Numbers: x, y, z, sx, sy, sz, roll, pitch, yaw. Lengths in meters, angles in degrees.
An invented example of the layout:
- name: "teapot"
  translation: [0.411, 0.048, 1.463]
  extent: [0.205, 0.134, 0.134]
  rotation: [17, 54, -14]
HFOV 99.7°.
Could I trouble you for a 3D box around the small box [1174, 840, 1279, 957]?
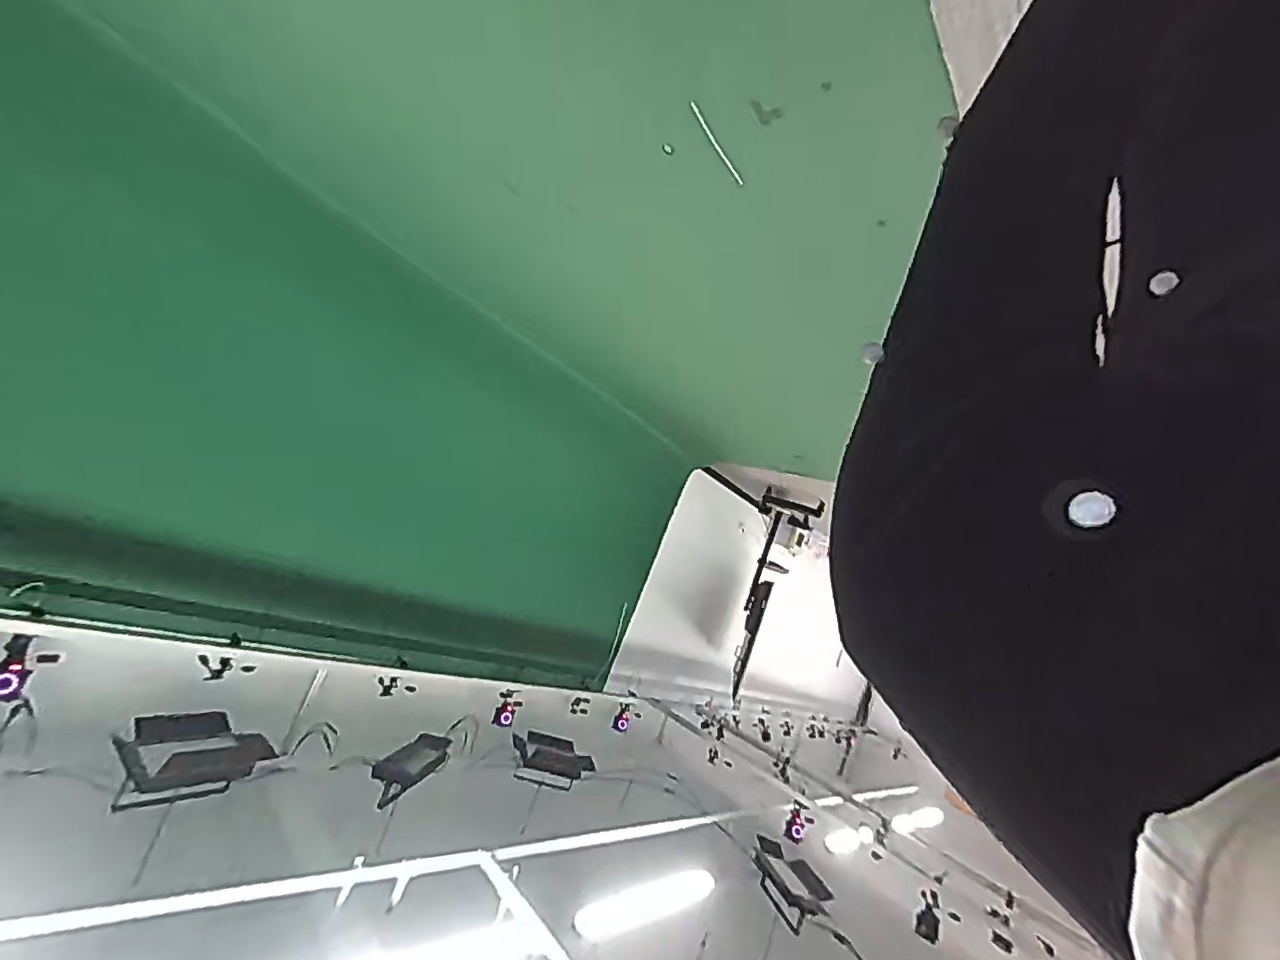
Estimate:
- name: "small box"
  translation: [1.550, 1.089, 1.427]
  extent: [0.168, 0.176, 0.179]
  rotation: [15, 171, 43]
